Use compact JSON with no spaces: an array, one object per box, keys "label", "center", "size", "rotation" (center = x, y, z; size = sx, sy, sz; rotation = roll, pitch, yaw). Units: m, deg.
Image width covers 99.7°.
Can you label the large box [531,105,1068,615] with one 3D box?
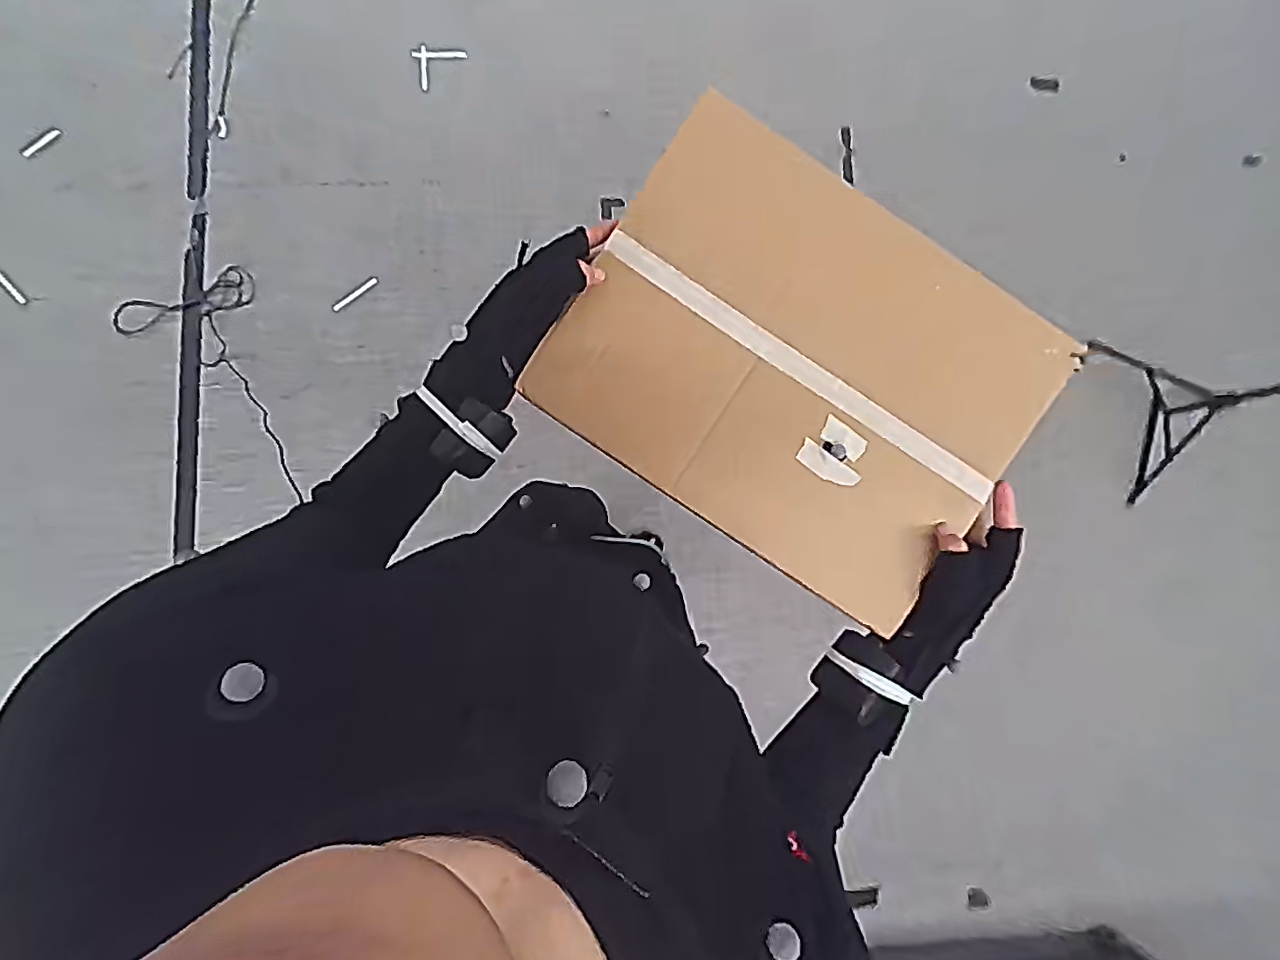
[{"label":"large box","center":[0.142,-0.111,0.640],"size":[0.408,0.320,0.320],"rotation":[34,92,-2]}]
